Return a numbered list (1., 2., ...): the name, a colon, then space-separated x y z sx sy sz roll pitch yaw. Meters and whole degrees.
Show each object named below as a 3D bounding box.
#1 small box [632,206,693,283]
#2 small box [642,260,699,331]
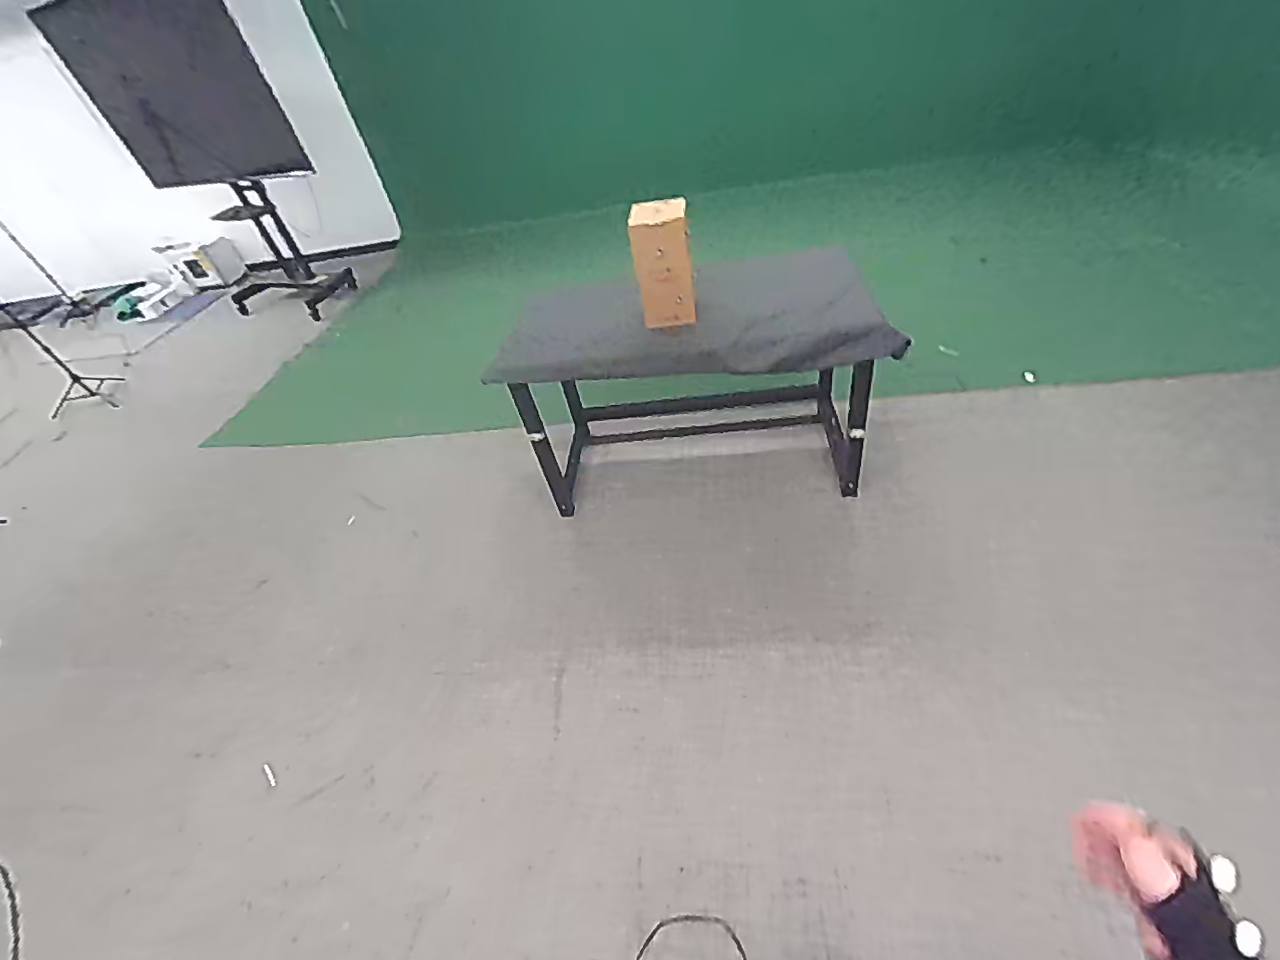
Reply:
1. small box: 0.077 -0.725 1.680 0.168 0.176 0.179 -2 44 9
2. small box: 0.106 -0.603 1.786 0.168 0.176 0.179 -4 42 8
